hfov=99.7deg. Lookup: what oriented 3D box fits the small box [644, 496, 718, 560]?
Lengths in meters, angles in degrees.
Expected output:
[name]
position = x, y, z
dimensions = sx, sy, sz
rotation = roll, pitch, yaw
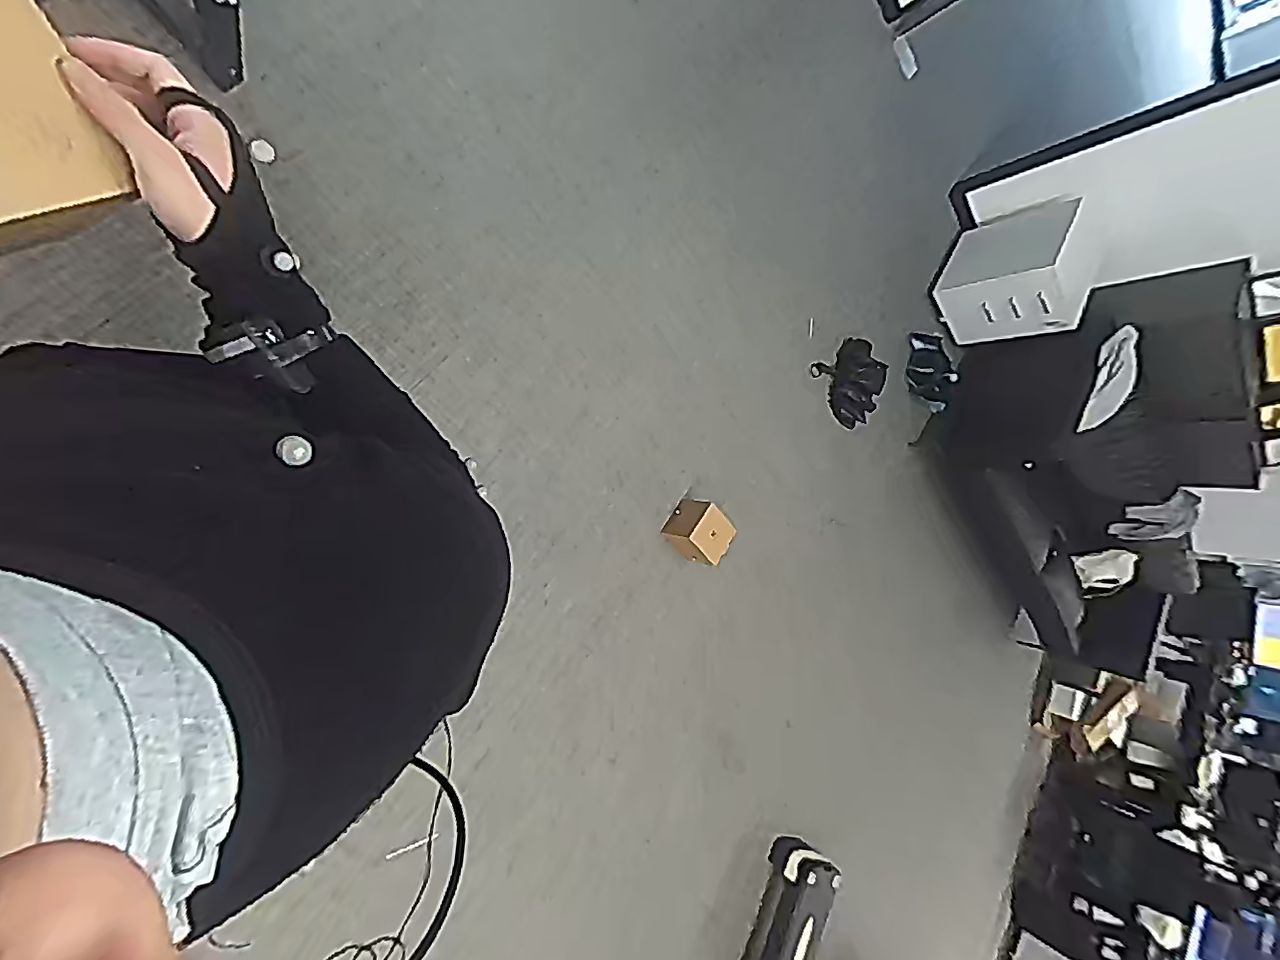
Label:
[small box]
position = 0.152, 0.172, 2.020
dimensions = 0.179, 0.176, 0.168
rotation = 47, 65, -29
